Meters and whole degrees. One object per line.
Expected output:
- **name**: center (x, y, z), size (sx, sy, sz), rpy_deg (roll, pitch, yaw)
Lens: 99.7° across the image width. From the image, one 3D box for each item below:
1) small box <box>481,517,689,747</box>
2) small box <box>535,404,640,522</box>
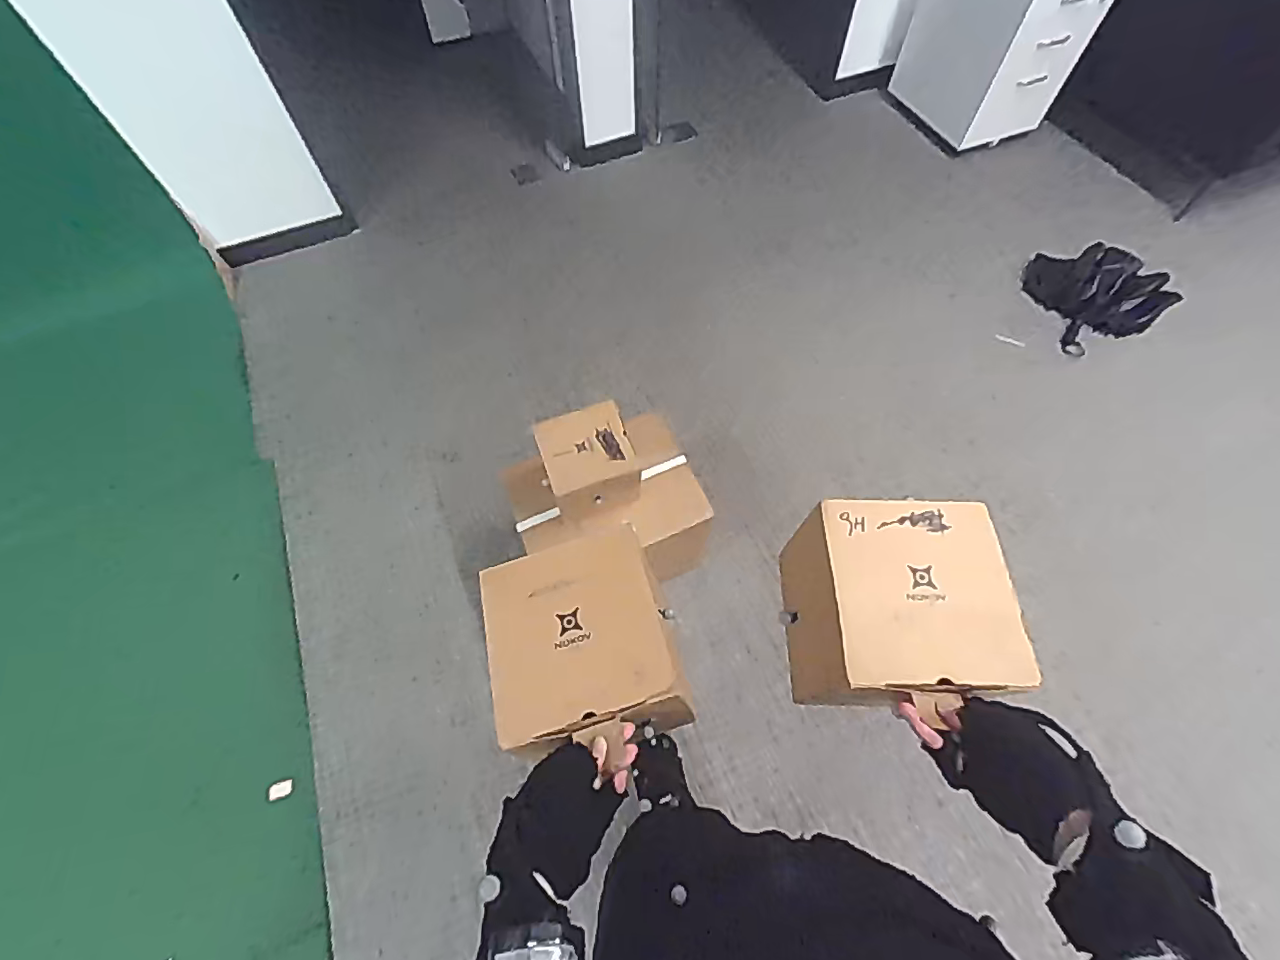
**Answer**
- **small box**: center (-0.053, 0.173, 0.584), size (0.168, 0.176, 0.179), rpy_deg (-19, 56, -1)
- **small box**: center (-0.107, -0.031, 1.130), size (0.179, 0.176, 0.168), rpy_deg (-16, 66, -8)
